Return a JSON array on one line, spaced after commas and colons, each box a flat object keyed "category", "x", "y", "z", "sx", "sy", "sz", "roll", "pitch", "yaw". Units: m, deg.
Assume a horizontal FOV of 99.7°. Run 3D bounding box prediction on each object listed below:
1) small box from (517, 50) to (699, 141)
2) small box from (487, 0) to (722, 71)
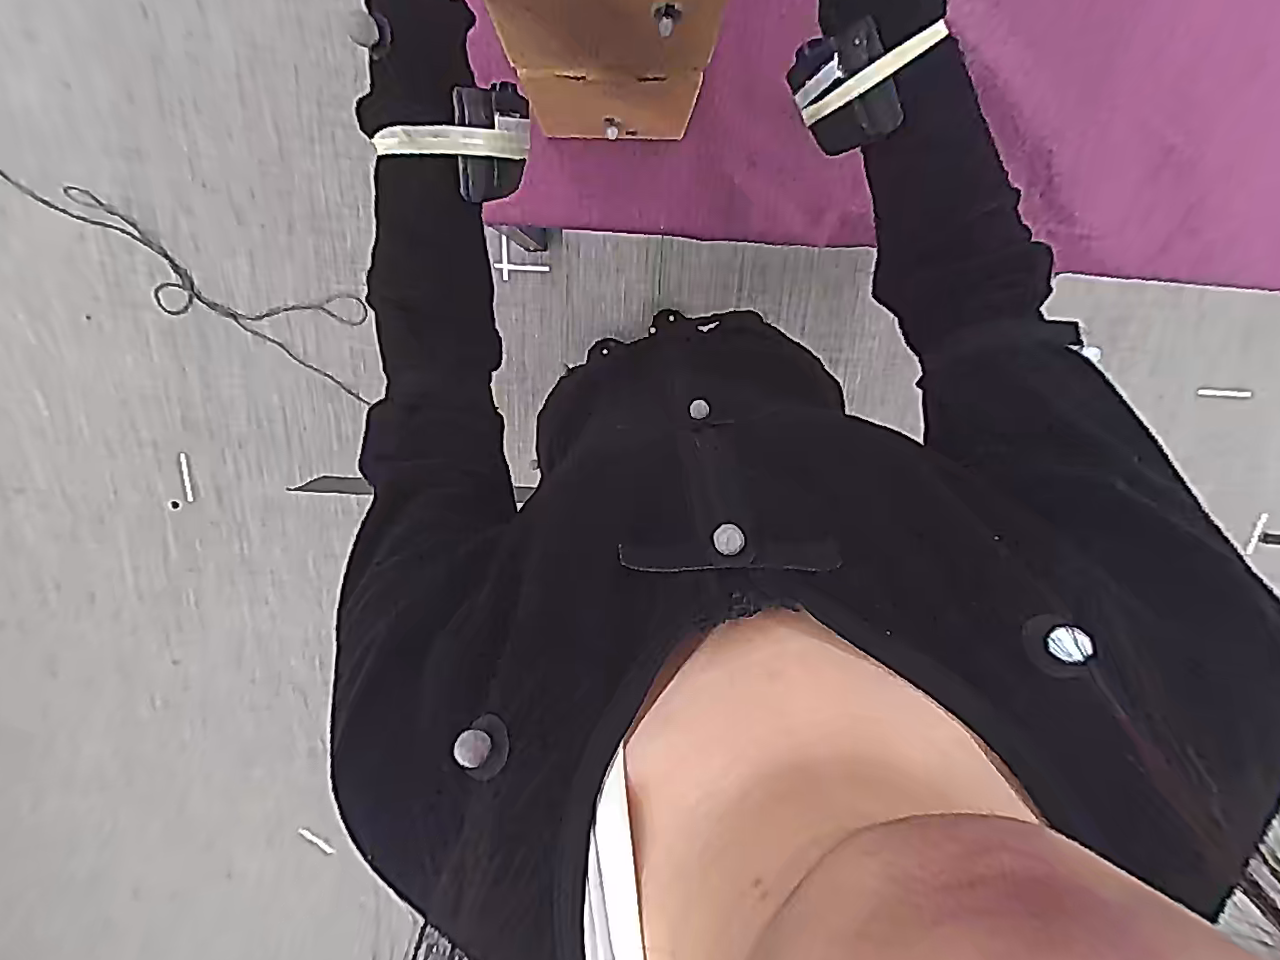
[{"category": "small box", "x": -0.031, "y": -0.466, "z": 0.538, "sx": 0.168, "sy": 0.176, "sz": 0.179, "roll": 0, "pitch": 106, "yaw": -2}, {"category": "small box", "x": -0.025, "y": -0.422, "z": 0.382, "sx": 0.179, "sy": 0.176, "sz": 0.168, "roll": -2, "pitch": 104, "yaw": -1}]
